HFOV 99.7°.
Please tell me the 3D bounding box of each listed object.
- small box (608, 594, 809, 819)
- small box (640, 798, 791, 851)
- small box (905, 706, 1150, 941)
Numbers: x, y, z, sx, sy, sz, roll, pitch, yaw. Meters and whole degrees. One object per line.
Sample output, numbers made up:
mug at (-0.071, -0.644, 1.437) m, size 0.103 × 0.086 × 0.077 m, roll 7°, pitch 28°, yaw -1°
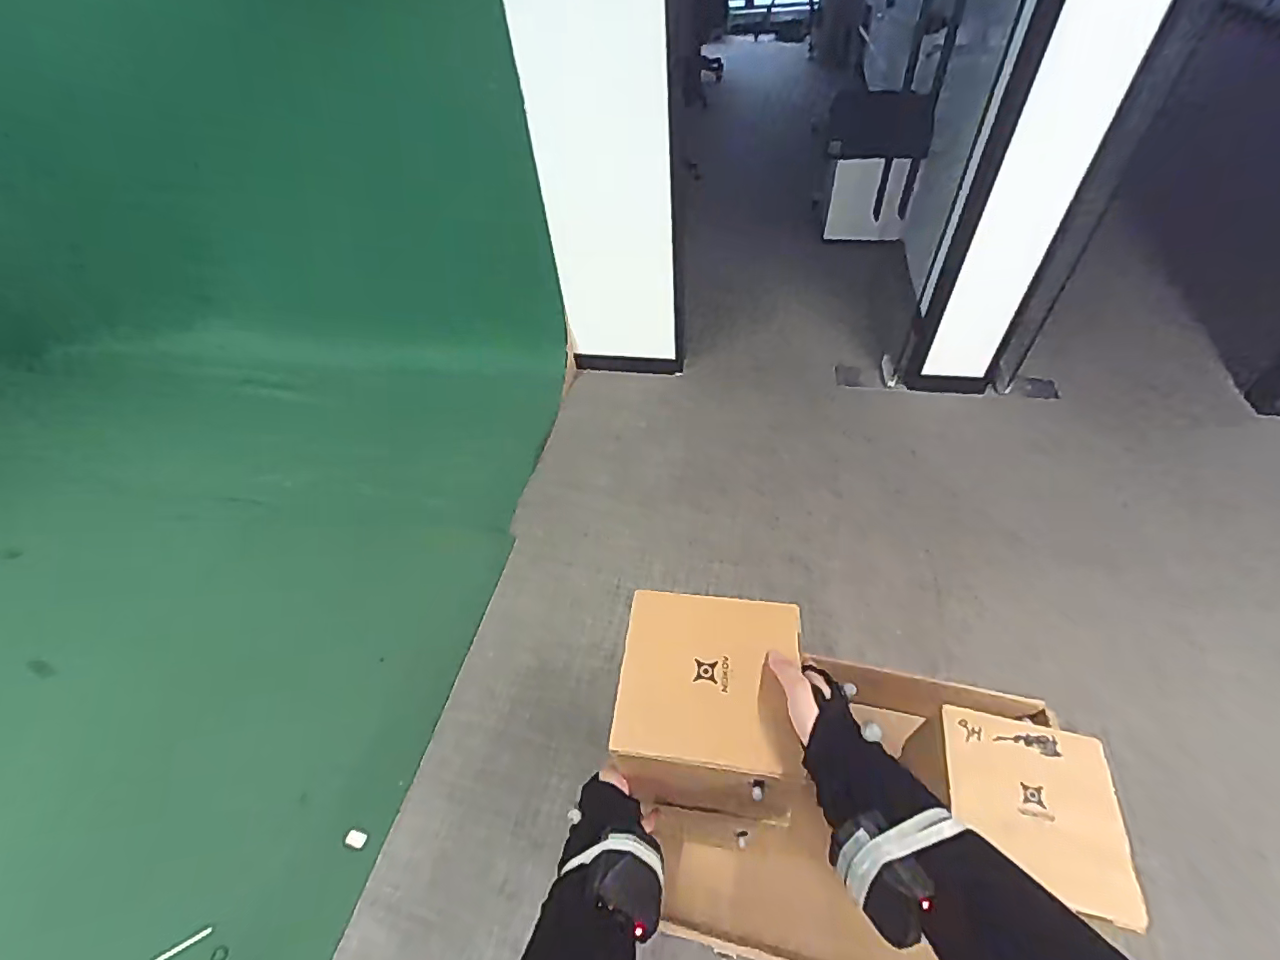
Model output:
small box at (0.073, 0.241, 0.574) m, size 0.179 × 0.176 × 0.168 m, roll 4°, pitch 48°, yaw 8°
small box at (0.100, 0.351, 0.692) m, size 0.168 × 0.176 × 0.179 m, roll 5°, pitch 49°, yaw 9°
small box at (0.416, 0.392, 0.620) m, size 0.168 × 0.176 × 0.179 m, roll 9°, pitch 51°, yaw 13°
